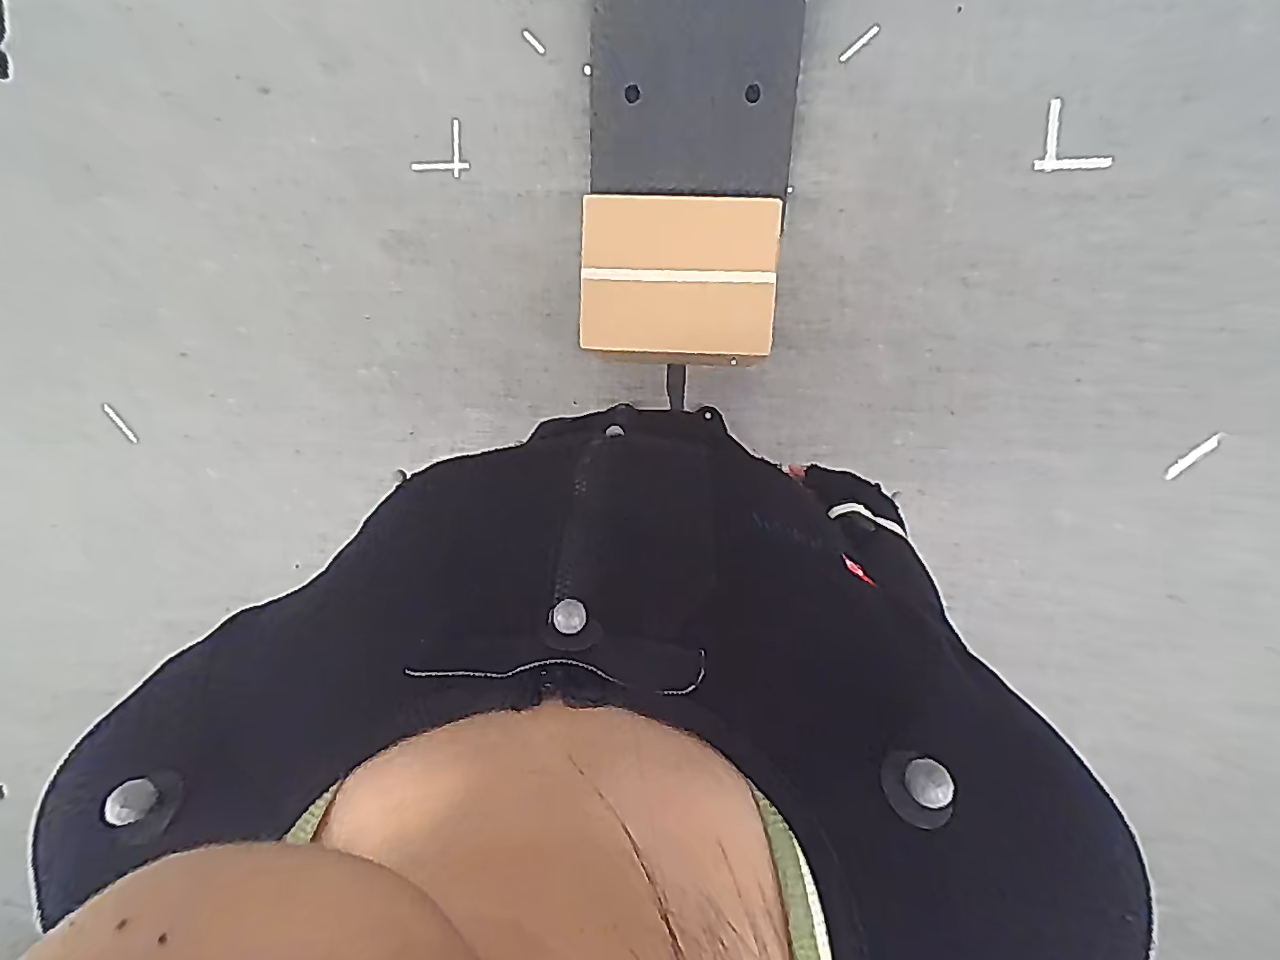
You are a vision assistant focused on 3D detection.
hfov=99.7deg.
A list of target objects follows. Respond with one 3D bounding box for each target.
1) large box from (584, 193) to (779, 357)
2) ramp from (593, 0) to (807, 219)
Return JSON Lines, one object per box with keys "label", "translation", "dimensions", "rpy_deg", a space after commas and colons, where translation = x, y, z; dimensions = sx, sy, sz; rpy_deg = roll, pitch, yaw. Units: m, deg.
{"label": "large box", "translation": [0.095, -0.457, 1.272], "dimensions": [0.408, 0.320, 0.320], "rpy_deg": [3, 98, 4]}
{"label": "ramp", "translation": [0.137, -1.134, 1.218], "dimensions": [0.509, 0.206, 0.991], "rpy_deg": [1, 99, 3]}
